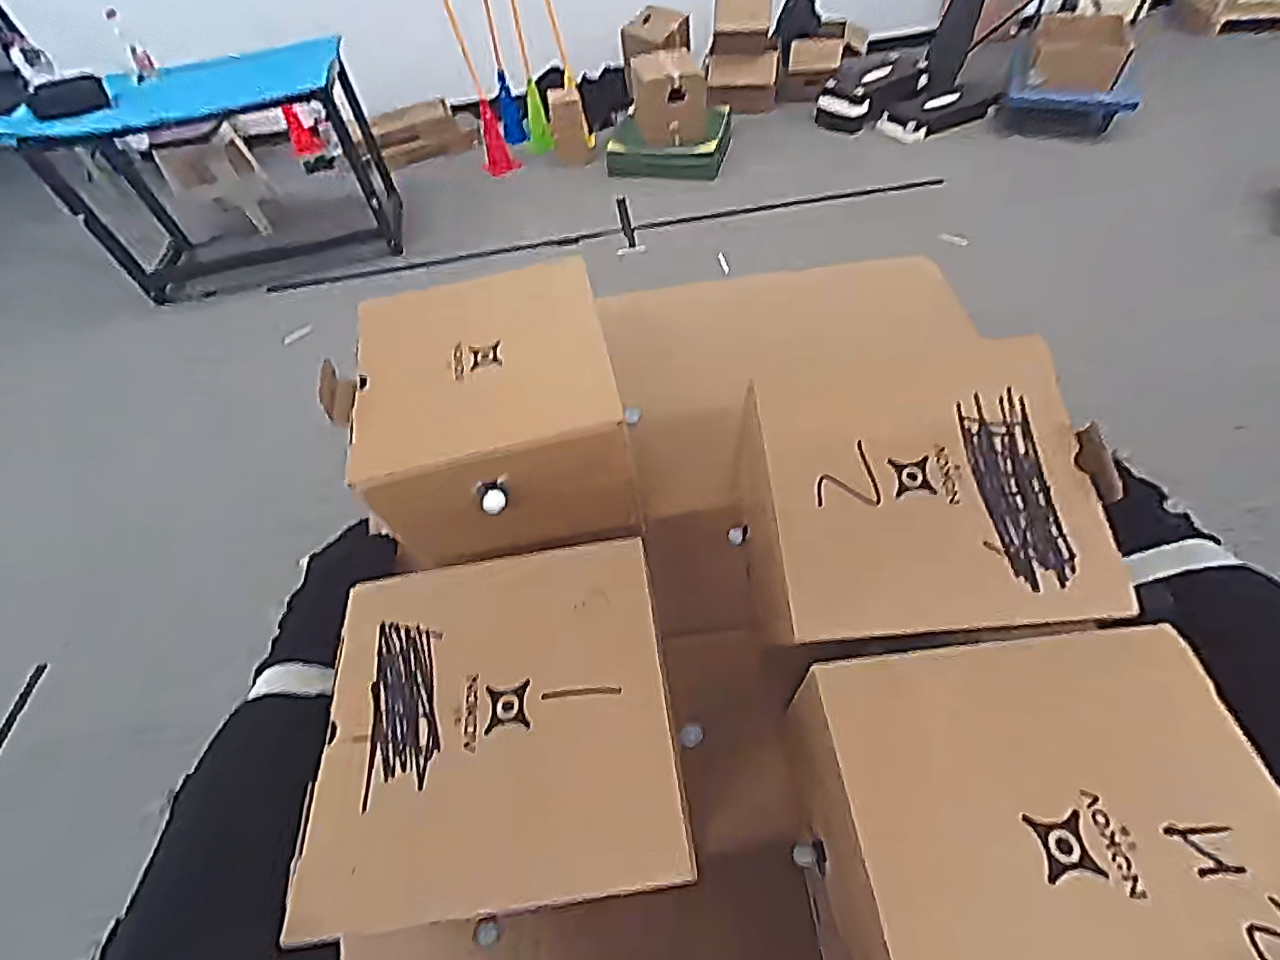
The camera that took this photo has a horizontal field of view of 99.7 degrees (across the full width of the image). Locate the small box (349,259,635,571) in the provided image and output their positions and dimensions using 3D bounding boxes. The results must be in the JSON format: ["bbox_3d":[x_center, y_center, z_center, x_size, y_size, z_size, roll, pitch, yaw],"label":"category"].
[{"bbox_3d":[-0.104,-0.044,0.444,0.179,0.176,0.168,-14,59,-1],"label":"small box"}]
